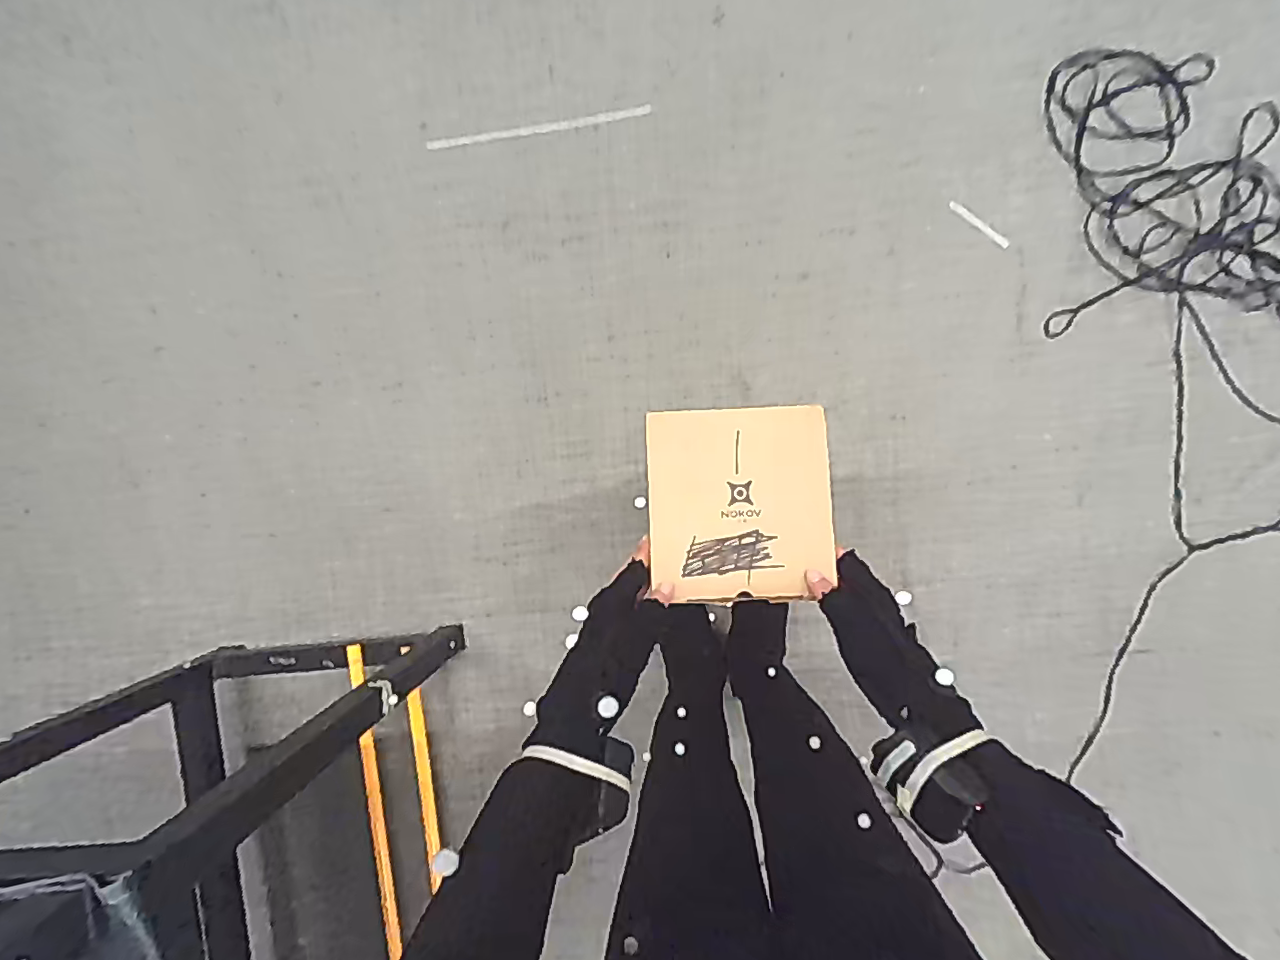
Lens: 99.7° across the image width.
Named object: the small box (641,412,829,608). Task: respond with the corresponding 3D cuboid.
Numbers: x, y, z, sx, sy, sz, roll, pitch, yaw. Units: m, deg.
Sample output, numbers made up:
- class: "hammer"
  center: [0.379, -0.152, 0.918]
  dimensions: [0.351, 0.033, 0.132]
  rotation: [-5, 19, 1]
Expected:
- class: "small box"
  center: [0.089, 0.034, 0.567]
  dimensions: [0.168, 0.176, 0.179]
  rotation: [-2, 83, 2]
